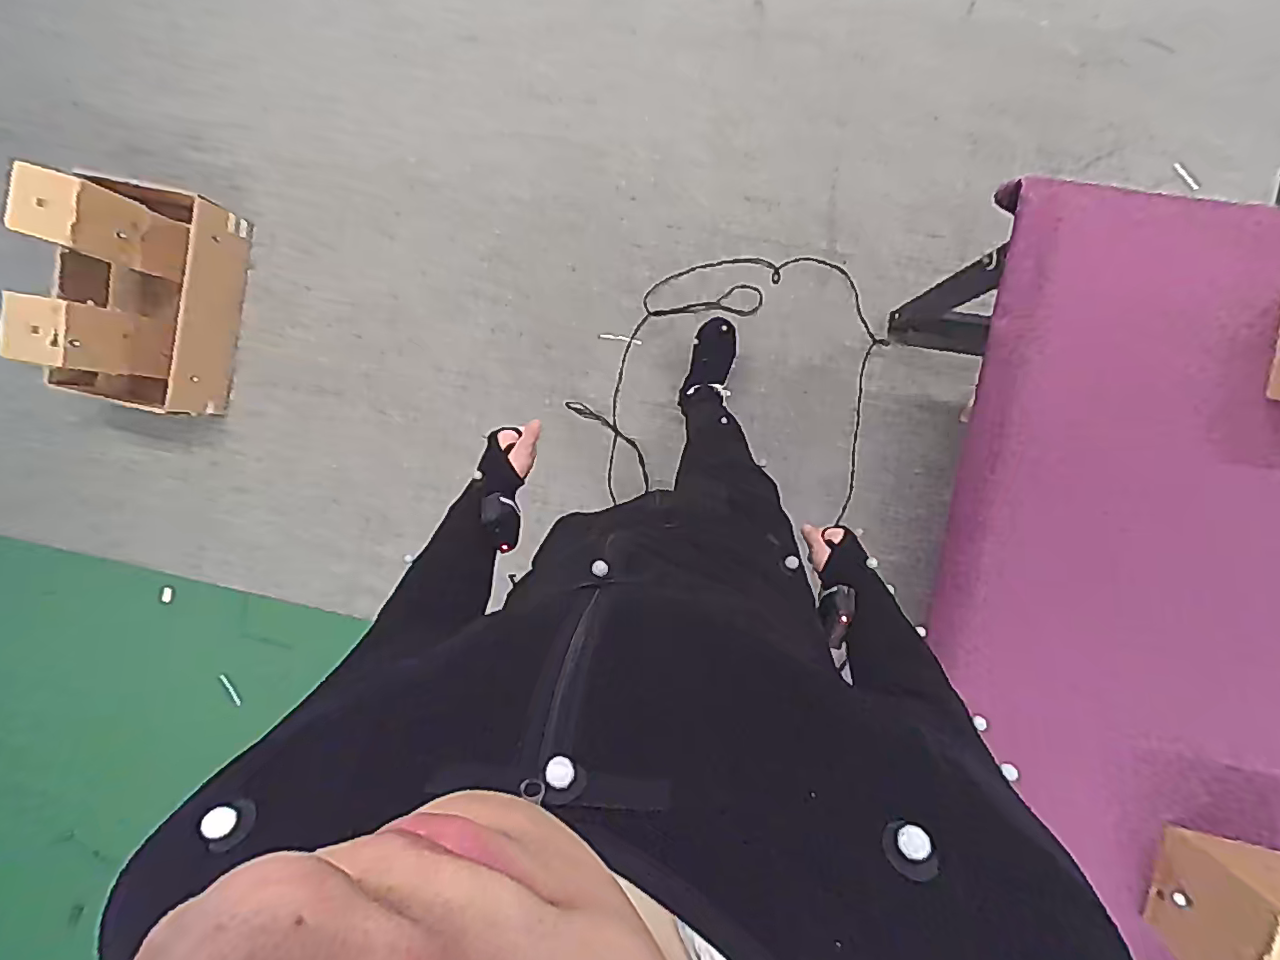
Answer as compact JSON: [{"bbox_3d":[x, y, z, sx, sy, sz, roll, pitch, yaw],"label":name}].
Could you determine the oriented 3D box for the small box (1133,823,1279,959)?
[{"bbox_3d":[0.892,0.643,0.787,0.179,0.176,0.168,12,93,4],"label":"small box"}]

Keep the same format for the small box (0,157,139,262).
[{"bbox_3d":[-1.439,-0.673,1.366,0.179,0.176,0.168,16,96,1],"label":"small box"}]

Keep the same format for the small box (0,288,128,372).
[{"bbox_3d":[-1.491,-0.379,1.394,0.179,0.176,0.168,10,96,4],"label":"small box"}]
